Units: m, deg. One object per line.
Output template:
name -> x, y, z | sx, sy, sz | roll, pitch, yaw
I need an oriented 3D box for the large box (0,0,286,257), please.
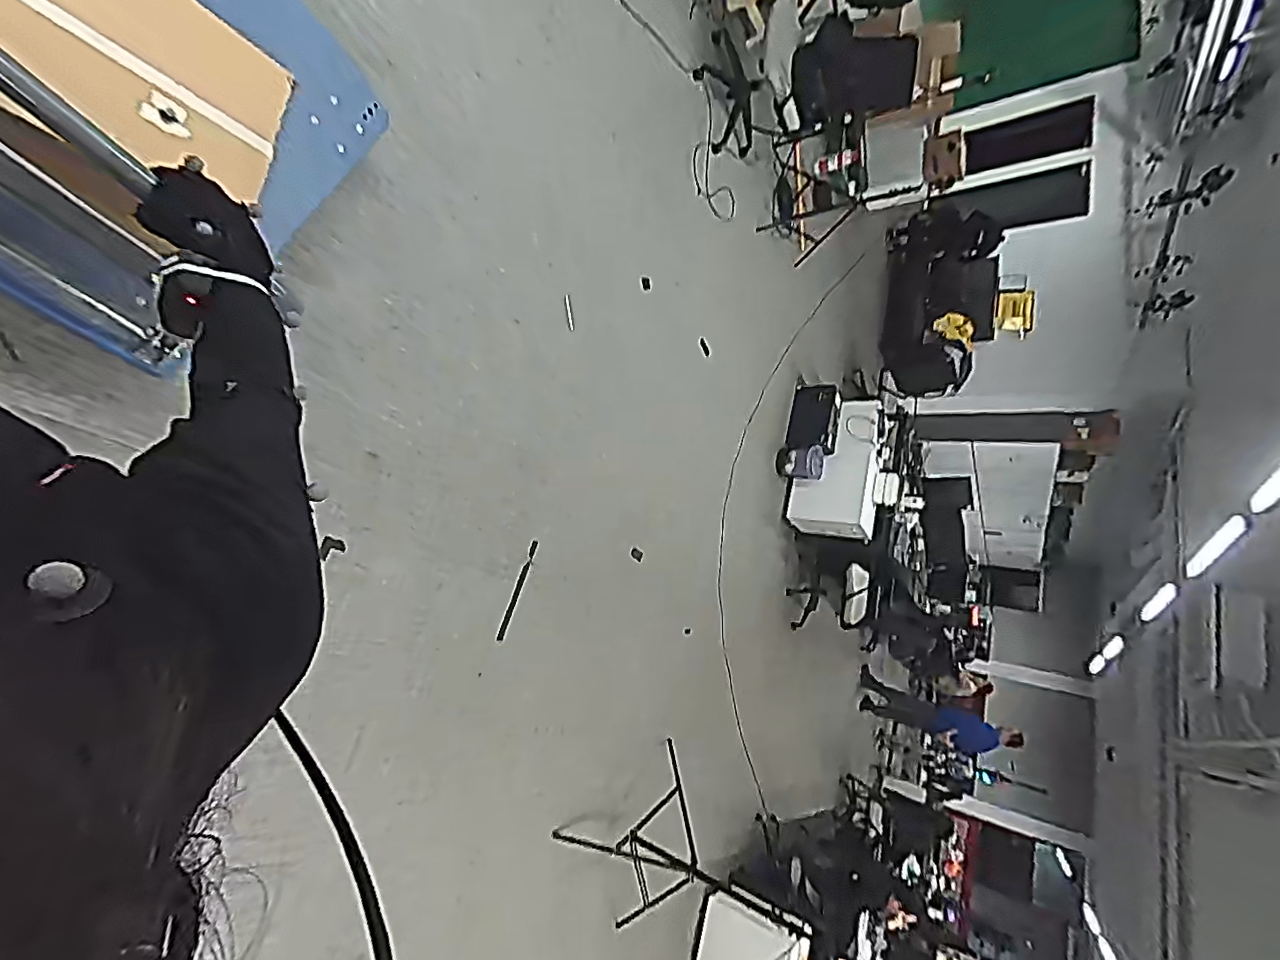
large box -> -0.882, -0.624, 0.858 | 0.408, 0.320, 0.320 | 23, 74, -54
